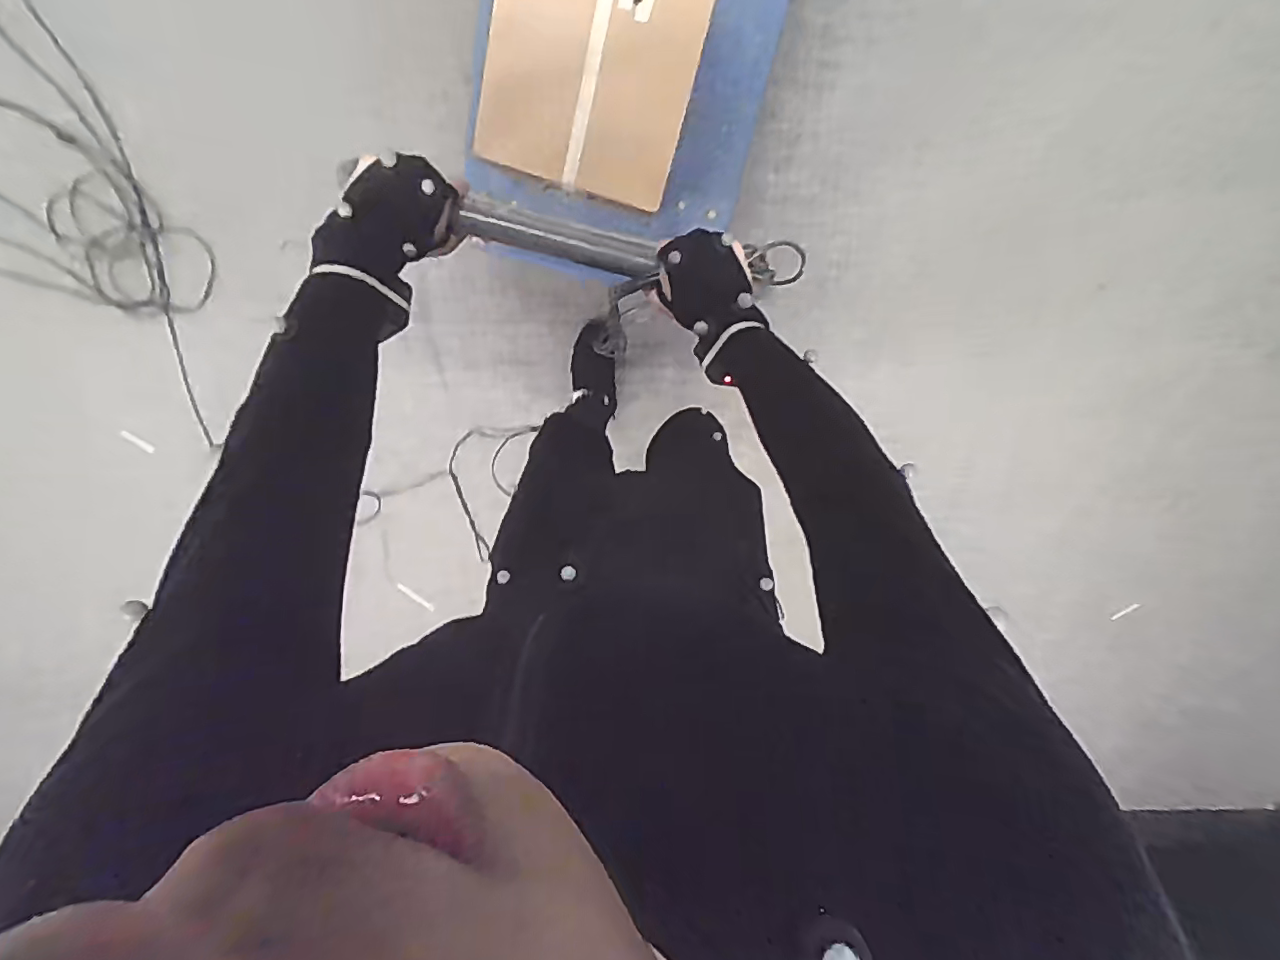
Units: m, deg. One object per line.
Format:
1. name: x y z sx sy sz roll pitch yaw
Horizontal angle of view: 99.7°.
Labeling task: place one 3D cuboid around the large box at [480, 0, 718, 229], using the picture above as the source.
1. large box: -0.065 -0.708 0.965 0.320 0.320 0.408 15 110 -7
